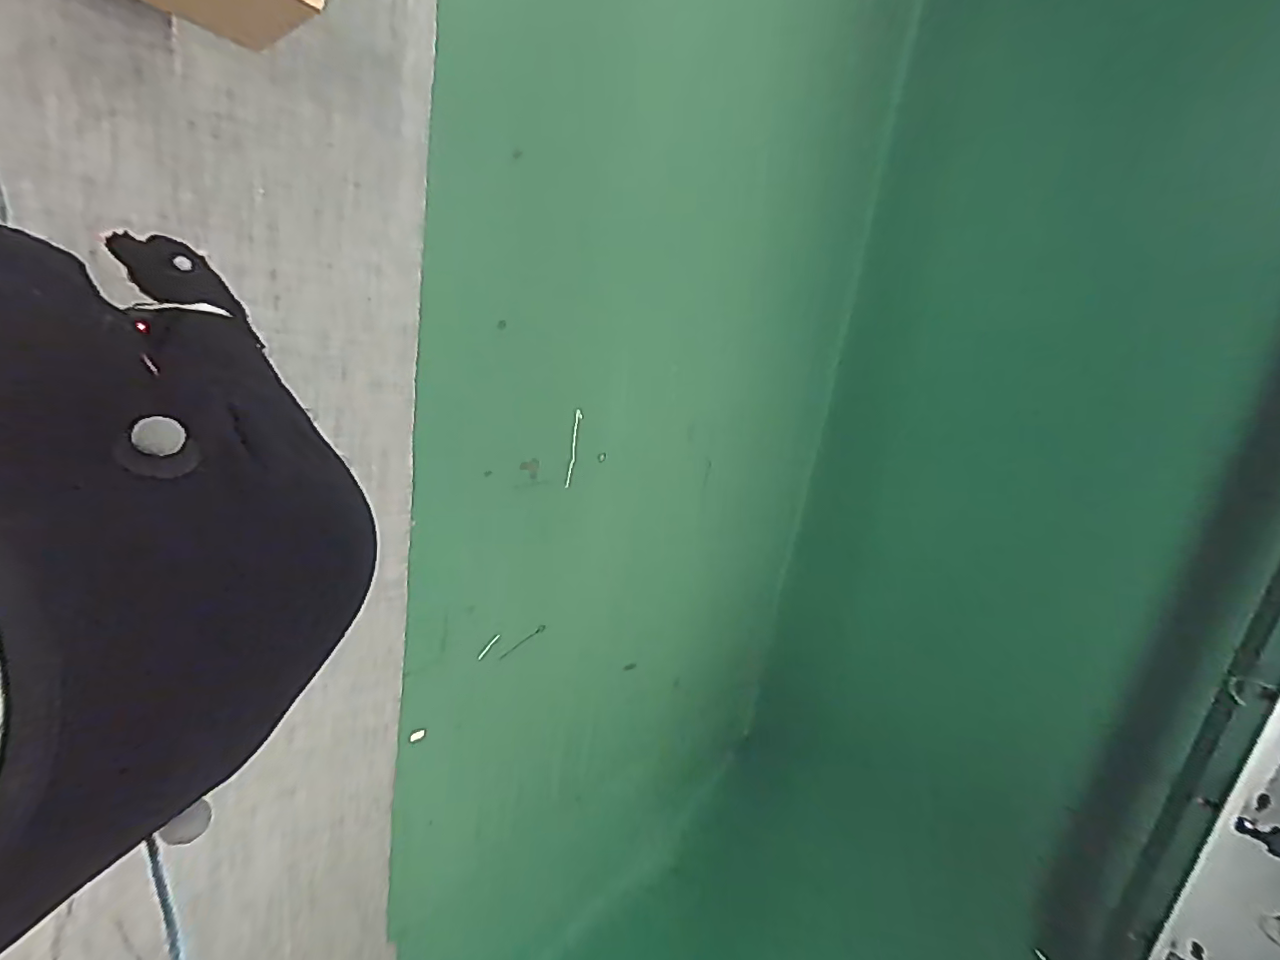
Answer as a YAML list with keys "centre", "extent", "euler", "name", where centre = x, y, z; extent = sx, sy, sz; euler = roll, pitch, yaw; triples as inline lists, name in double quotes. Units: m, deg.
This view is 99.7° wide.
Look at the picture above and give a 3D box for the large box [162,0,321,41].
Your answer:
- centre: [-0.701, -0.896, 0.734]
  extent: [0.408, 0.320, 0.320]
  euler: [-6, 110, -50]
  name: "large box"
